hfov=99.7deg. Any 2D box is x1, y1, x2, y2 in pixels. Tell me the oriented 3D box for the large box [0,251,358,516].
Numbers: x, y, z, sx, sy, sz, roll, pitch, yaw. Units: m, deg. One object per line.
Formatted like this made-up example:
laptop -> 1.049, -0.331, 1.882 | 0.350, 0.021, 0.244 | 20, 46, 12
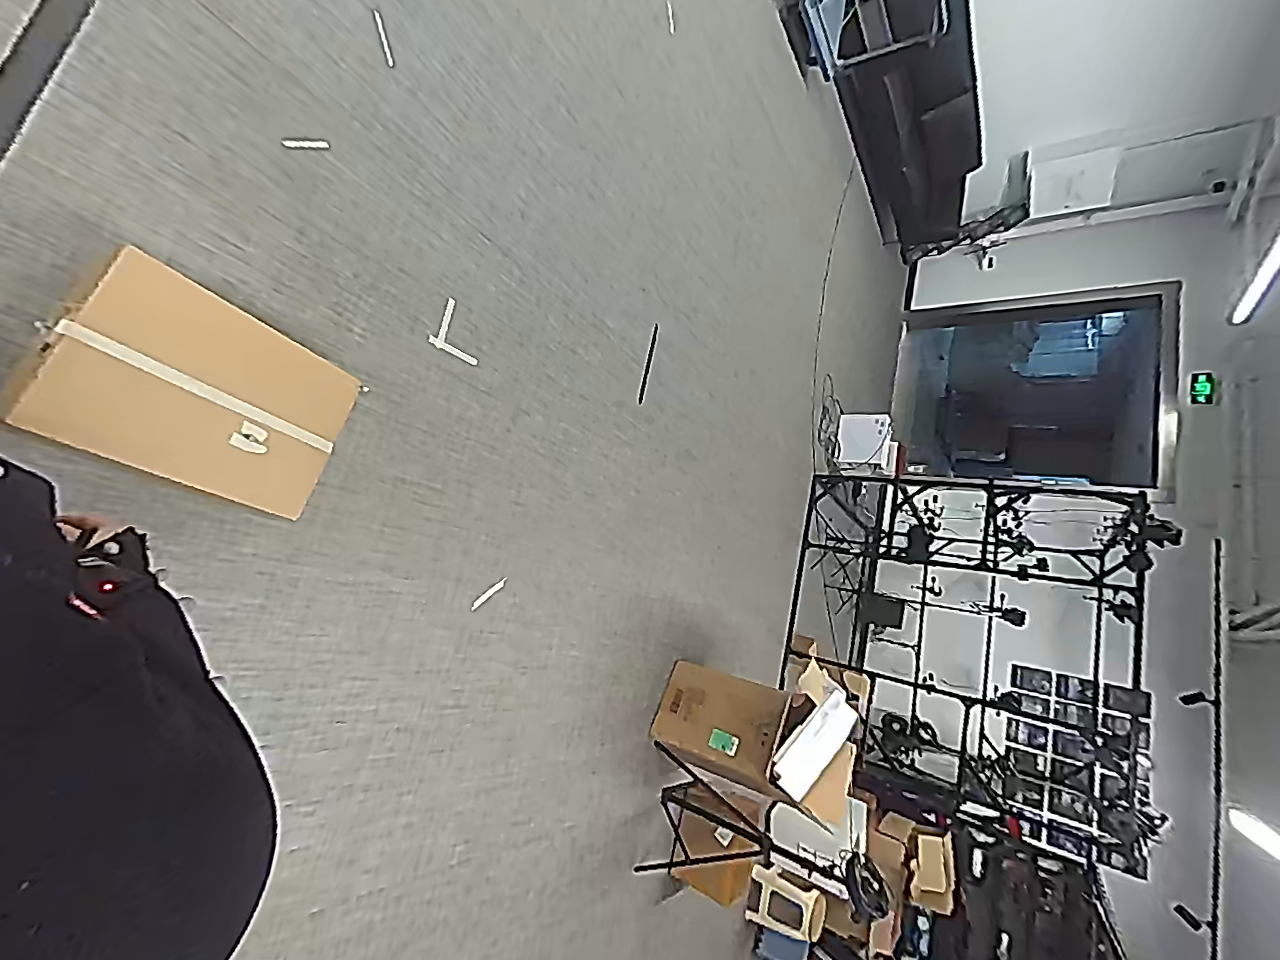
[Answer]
large box -> -0.849, -0.150, 1.016 | 0.408, 0.320, 0.320 | 38, 63, -51
